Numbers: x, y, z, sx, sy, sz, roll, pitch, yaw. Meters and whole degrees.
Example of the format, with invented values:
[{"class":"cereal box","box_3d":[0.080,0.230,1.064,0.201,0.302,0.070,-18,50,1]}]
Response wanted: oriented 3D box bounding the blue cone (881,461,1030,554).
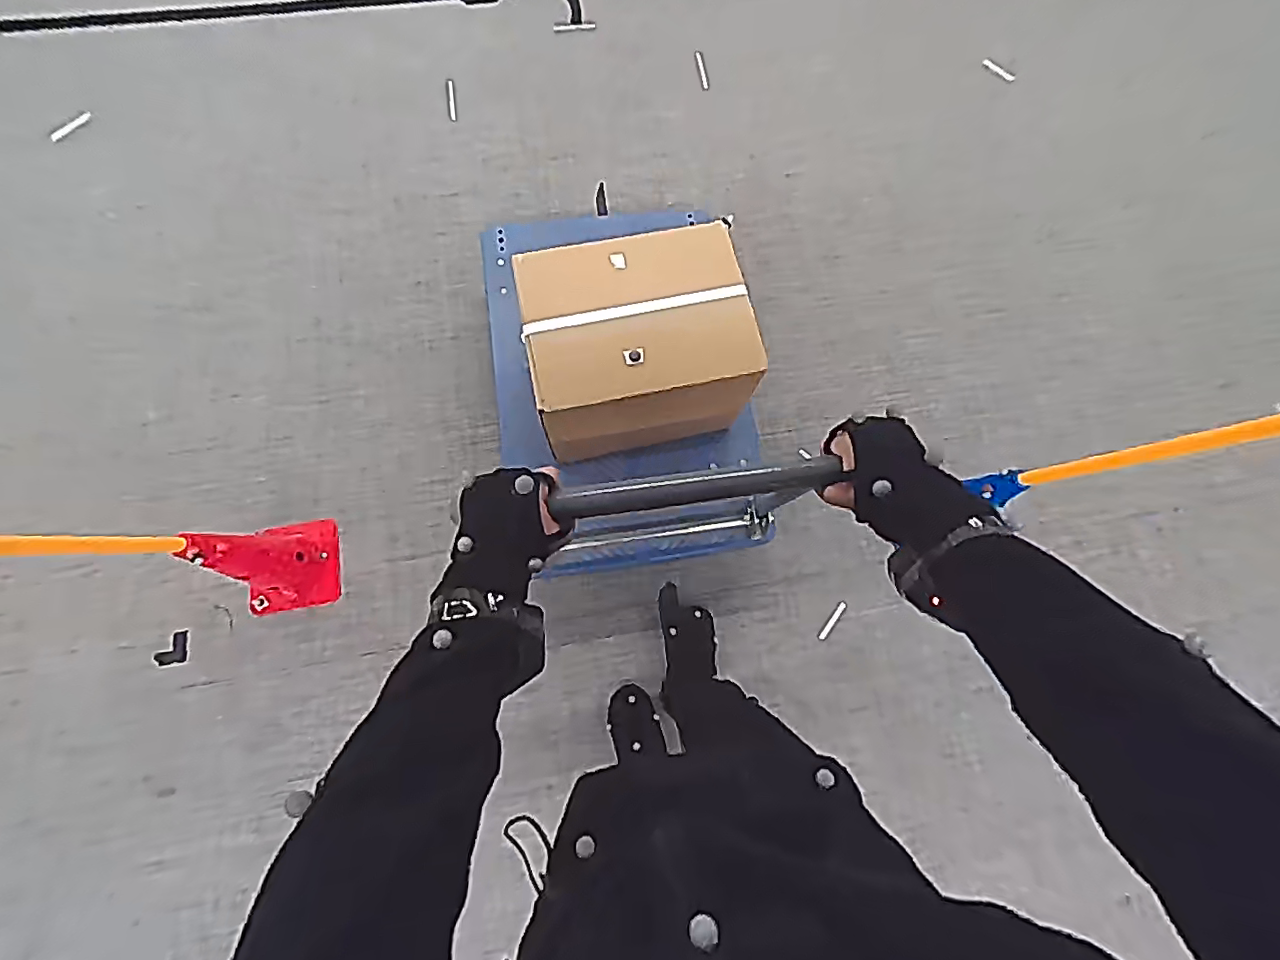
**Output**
[{"class":"blue cone","box_3d":[0.737,0.041,1.226,0.193,0.380,0.192,-12,75,-7]}]
